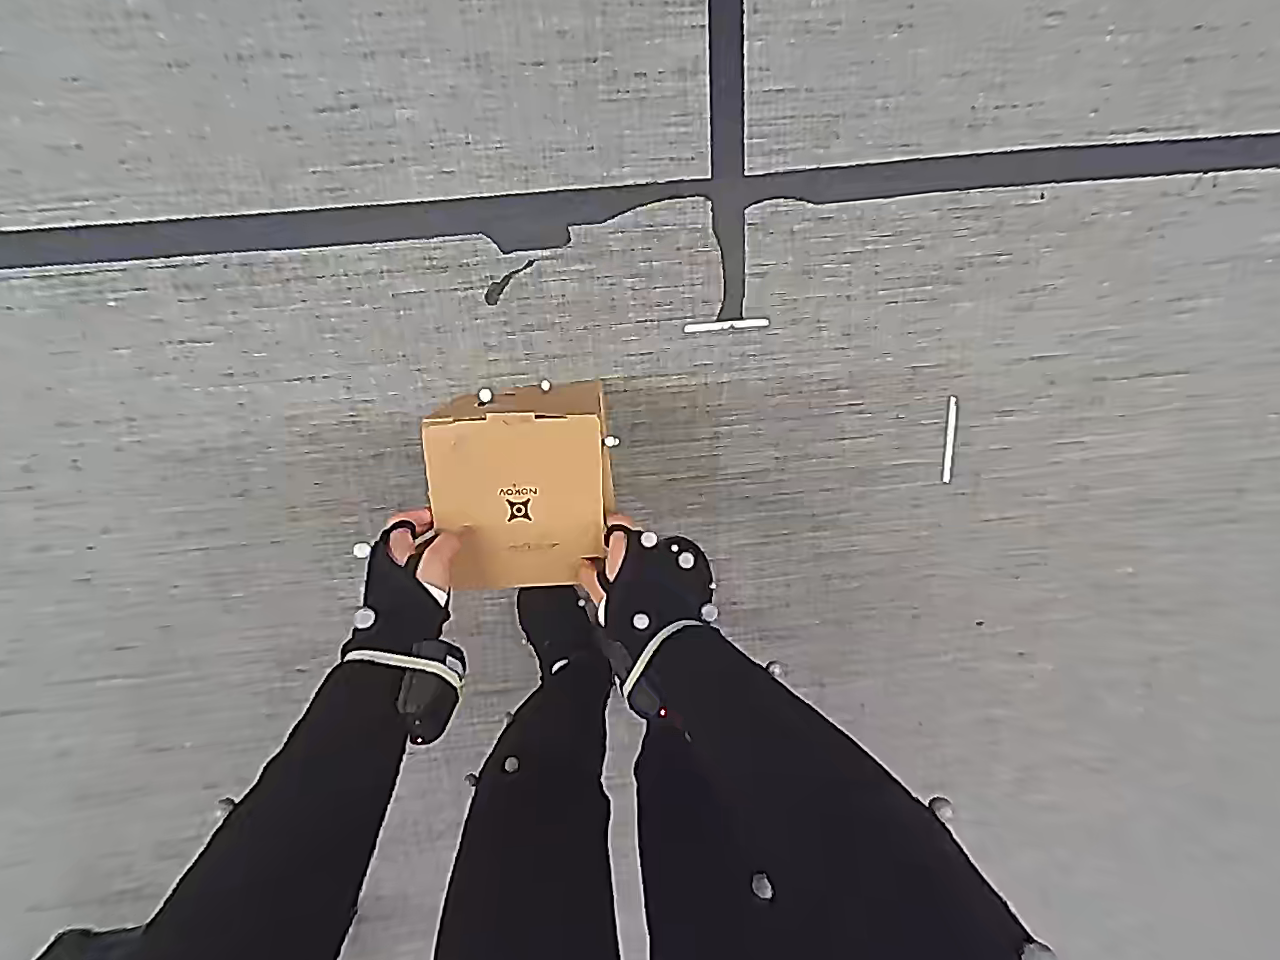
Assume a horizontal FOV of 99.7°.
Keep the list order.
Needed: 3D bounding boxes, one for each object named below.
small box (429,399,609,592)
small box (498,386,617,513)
[{"bbox_3d":[-0.122,0.005,0.606,0.168,0.176,0.179,-2,108,-3],"label":"small box"},{"bbox_3d":[-0.131,-0.045,0.807,0.179,0.176,0.168,-6,105,-2],"label":"small box"}]
